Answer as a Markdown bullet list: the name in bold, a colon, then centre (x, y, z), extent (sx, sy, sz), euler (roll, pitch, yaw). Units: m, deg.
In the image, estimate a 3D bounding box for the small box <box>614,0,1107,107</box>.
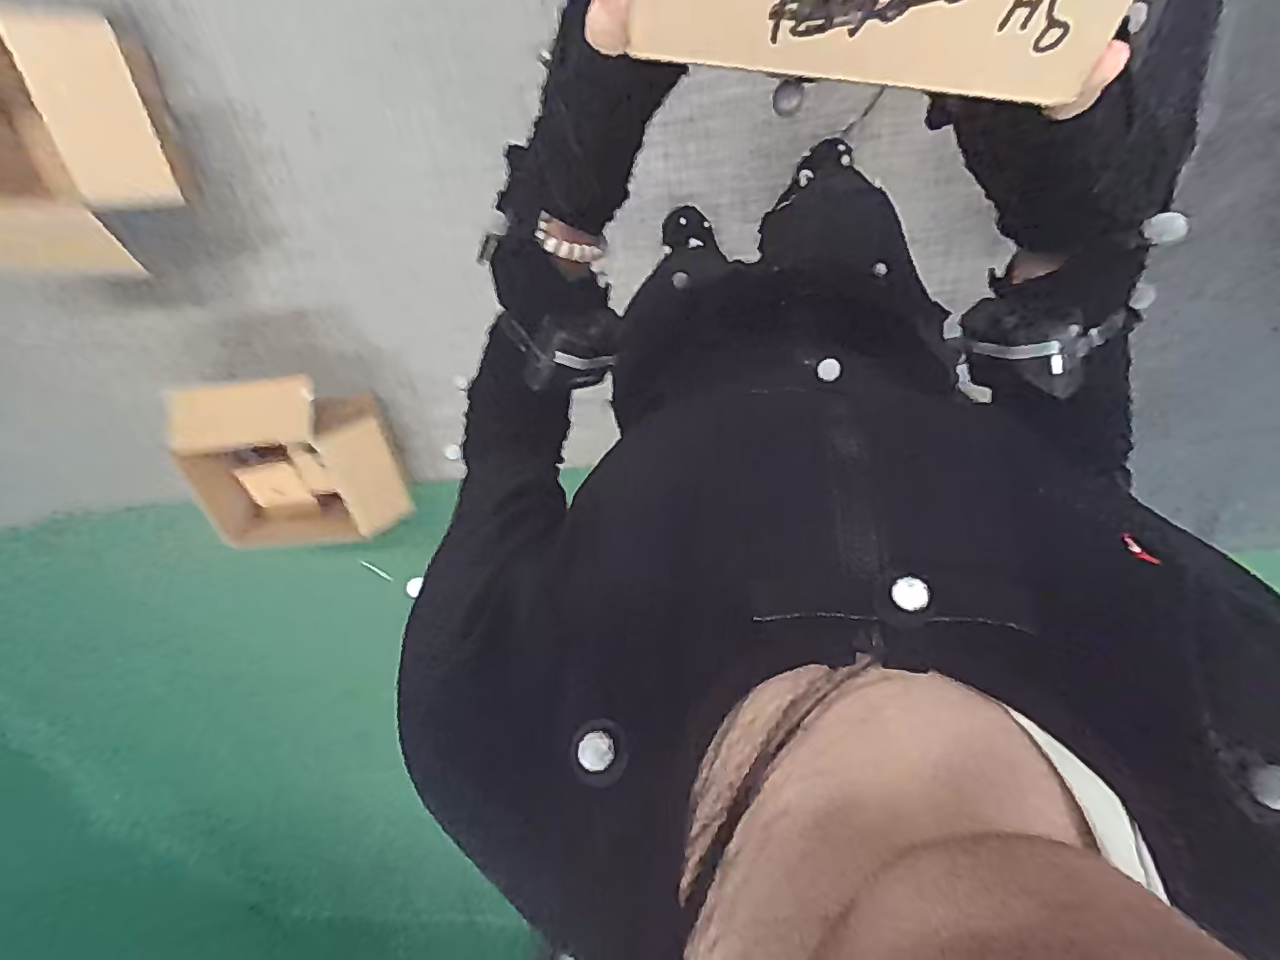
- **small box**: centre (0.076, -0.259, 0.194), extent (0.168, 0.176, 0.179), euler (3, 133, -4)
